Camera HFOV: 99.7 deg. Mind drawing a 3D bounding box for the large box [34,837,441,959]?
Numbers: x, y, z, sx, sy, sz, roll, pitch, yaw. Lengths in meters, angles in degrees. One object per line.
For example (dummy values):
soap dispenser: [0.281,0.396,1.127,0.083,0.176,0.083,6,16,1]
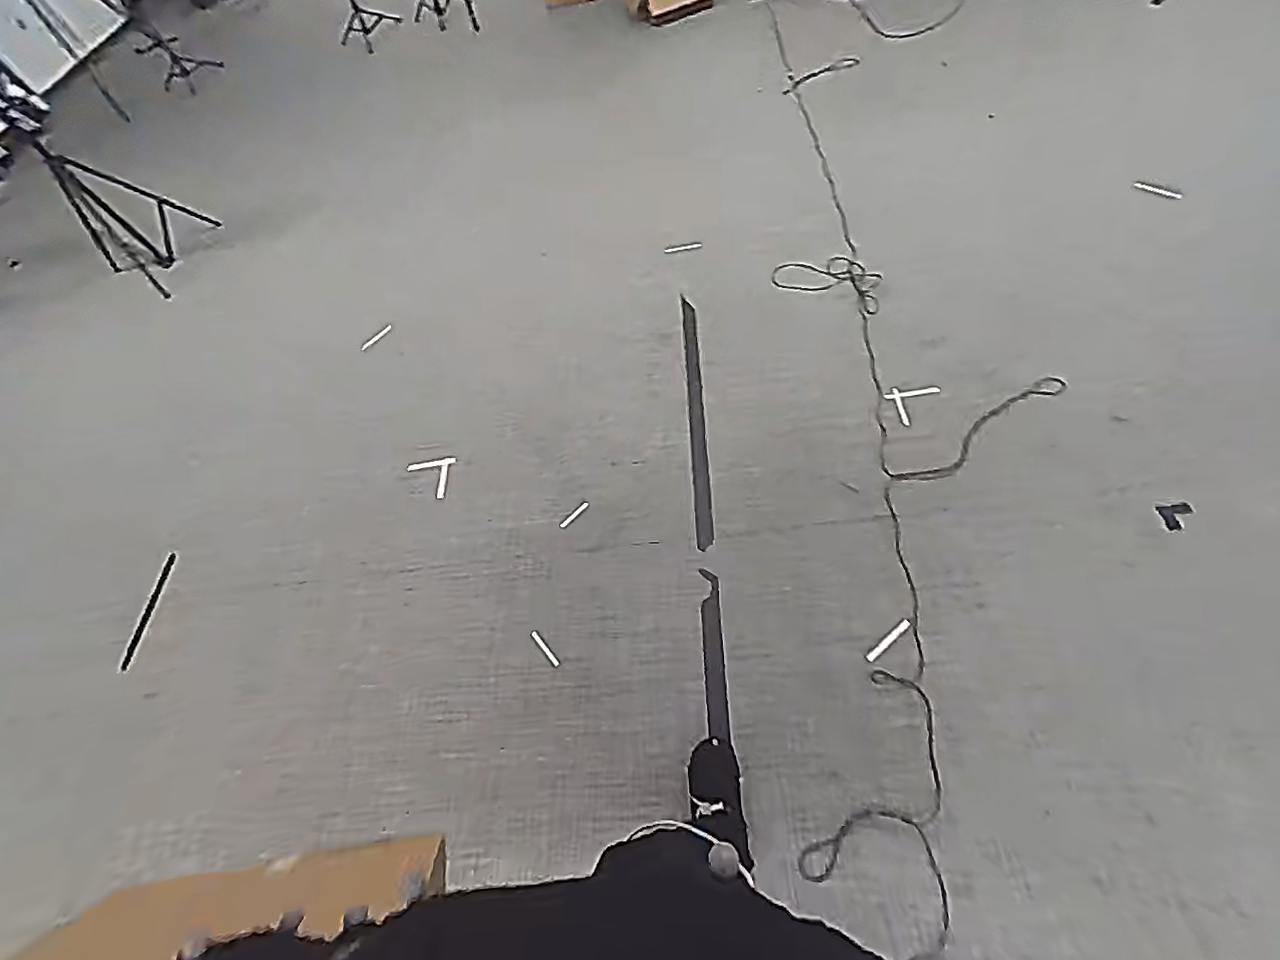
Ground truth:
large box: [-0.315,0.558,0.390,0.320,0.320,0.408,-3,74,-17]
